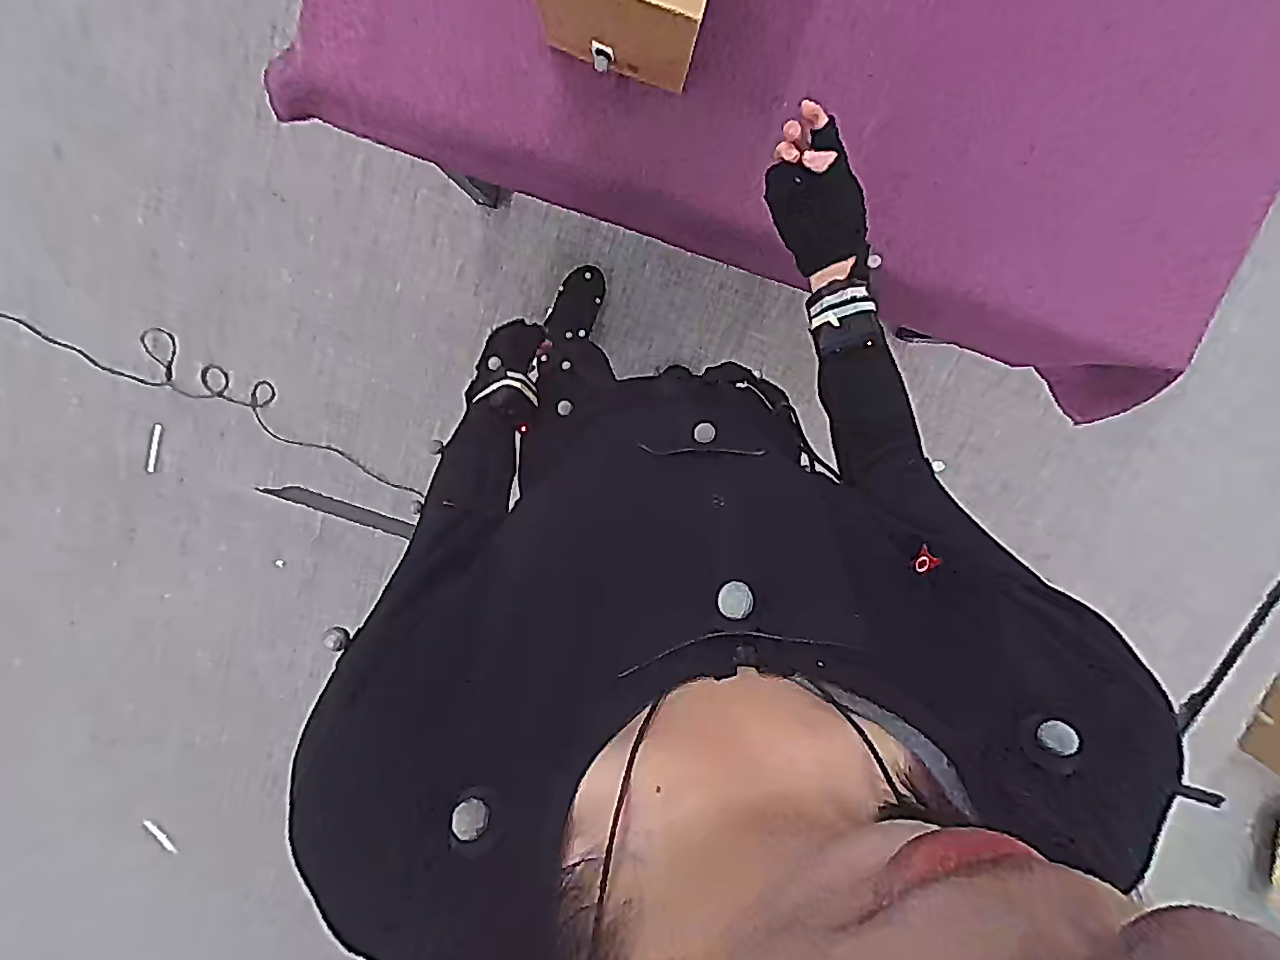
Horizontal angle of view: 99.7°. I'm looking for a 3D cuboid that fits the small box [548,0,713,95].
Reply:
[{"bbox_3d":[0.001,-0.538,0.542,0.168,0.176,0.179,15,105,-6],"label":"small box"}]
